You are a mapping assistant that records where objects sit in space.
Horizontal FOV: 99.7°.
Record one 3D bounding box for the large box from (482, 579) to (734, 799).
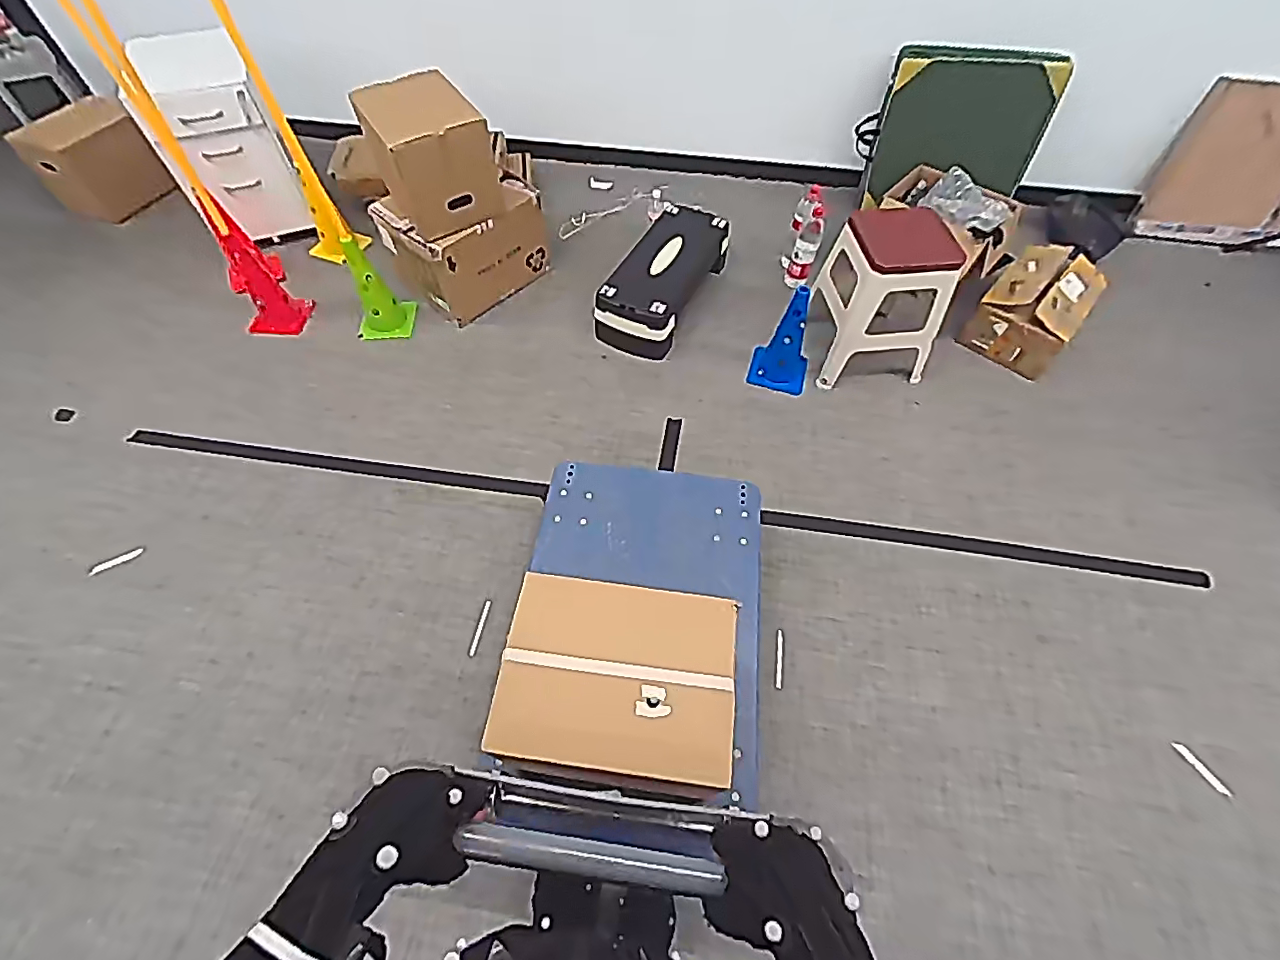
[{"bbox_3d":[-0.047,0.416,1.056,0.408,0.320,0.320,8,58,2],"label":"large box"}]
